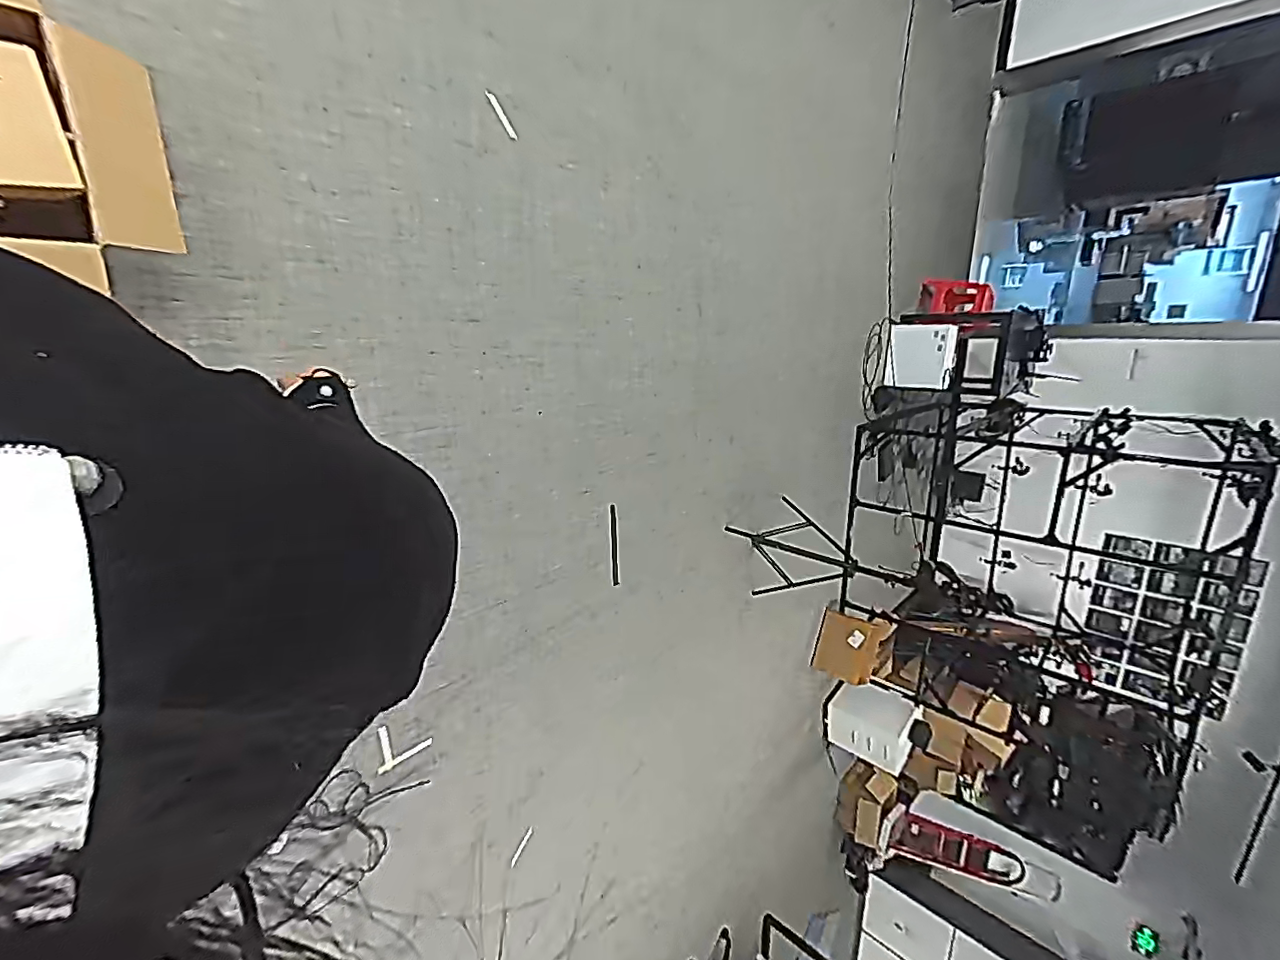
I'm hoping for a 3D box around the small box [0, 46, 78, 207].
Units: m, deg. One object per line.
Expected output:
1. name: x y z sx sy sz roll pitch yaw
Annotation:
1. small box: -0.933 -0.489 0.751 0.168 0.176 0.179 -26 119 -46
